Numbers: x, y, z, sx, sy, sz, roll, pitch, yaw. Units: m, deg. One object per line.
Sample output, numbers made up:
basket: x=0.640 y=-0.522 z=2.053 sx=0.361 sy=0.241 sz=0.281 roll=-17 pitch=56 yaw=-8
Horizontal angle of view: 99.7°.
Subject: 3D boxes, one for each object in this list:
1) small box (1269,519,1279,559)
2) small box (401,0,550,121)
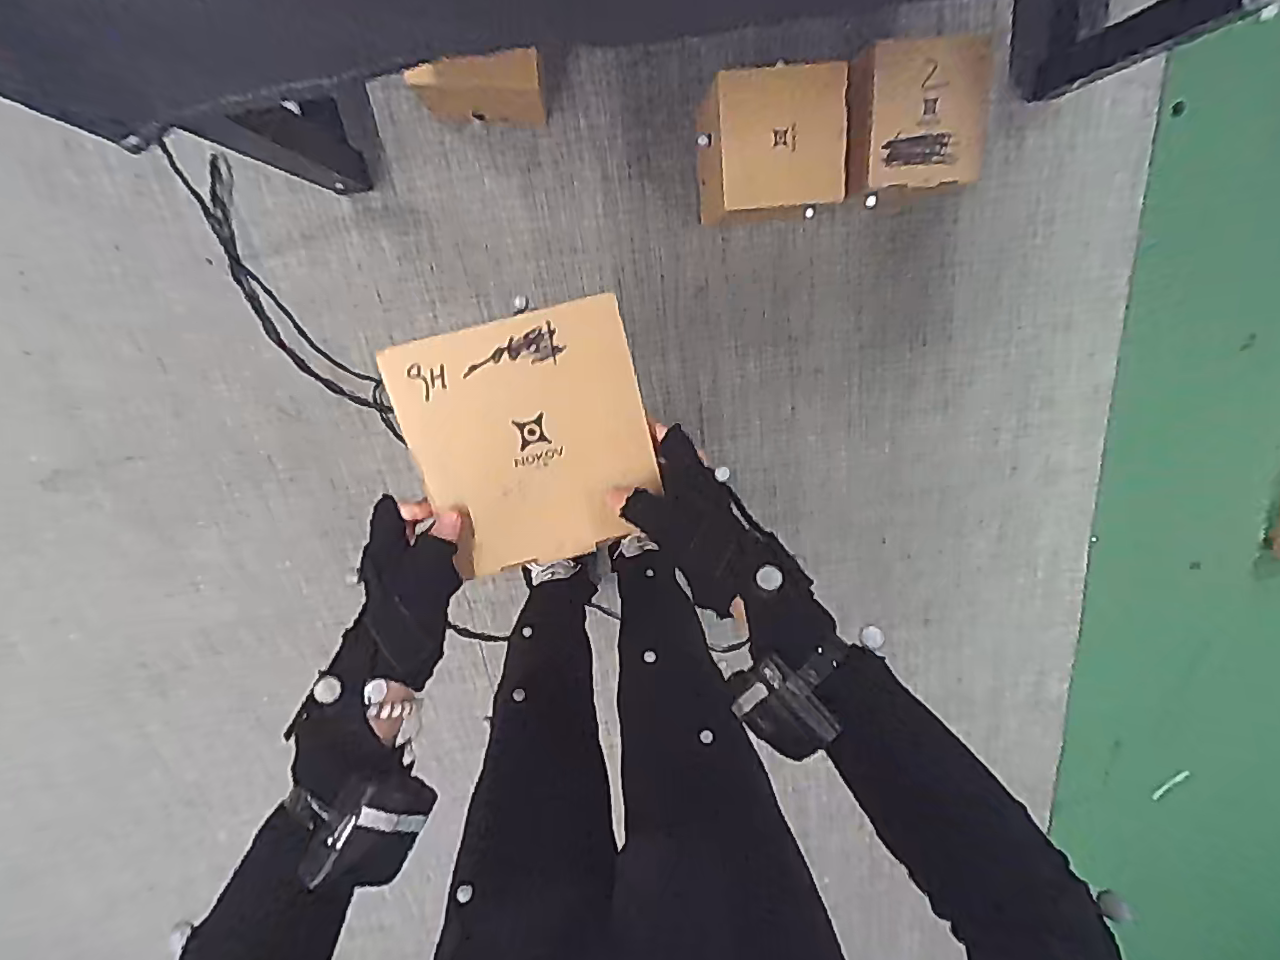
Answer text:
small box: x=1.518 y=0.112 z=1.144 sx=0.179 sy=0.176 sz=0.168 roll=-10 pitch=110 yaw=-3
small box: x=-0.208 y=-0.606 z=0.714 sx=0.168 sy=0.176 sz=0.179 roll=-1 pitch=108 yaw=-5
